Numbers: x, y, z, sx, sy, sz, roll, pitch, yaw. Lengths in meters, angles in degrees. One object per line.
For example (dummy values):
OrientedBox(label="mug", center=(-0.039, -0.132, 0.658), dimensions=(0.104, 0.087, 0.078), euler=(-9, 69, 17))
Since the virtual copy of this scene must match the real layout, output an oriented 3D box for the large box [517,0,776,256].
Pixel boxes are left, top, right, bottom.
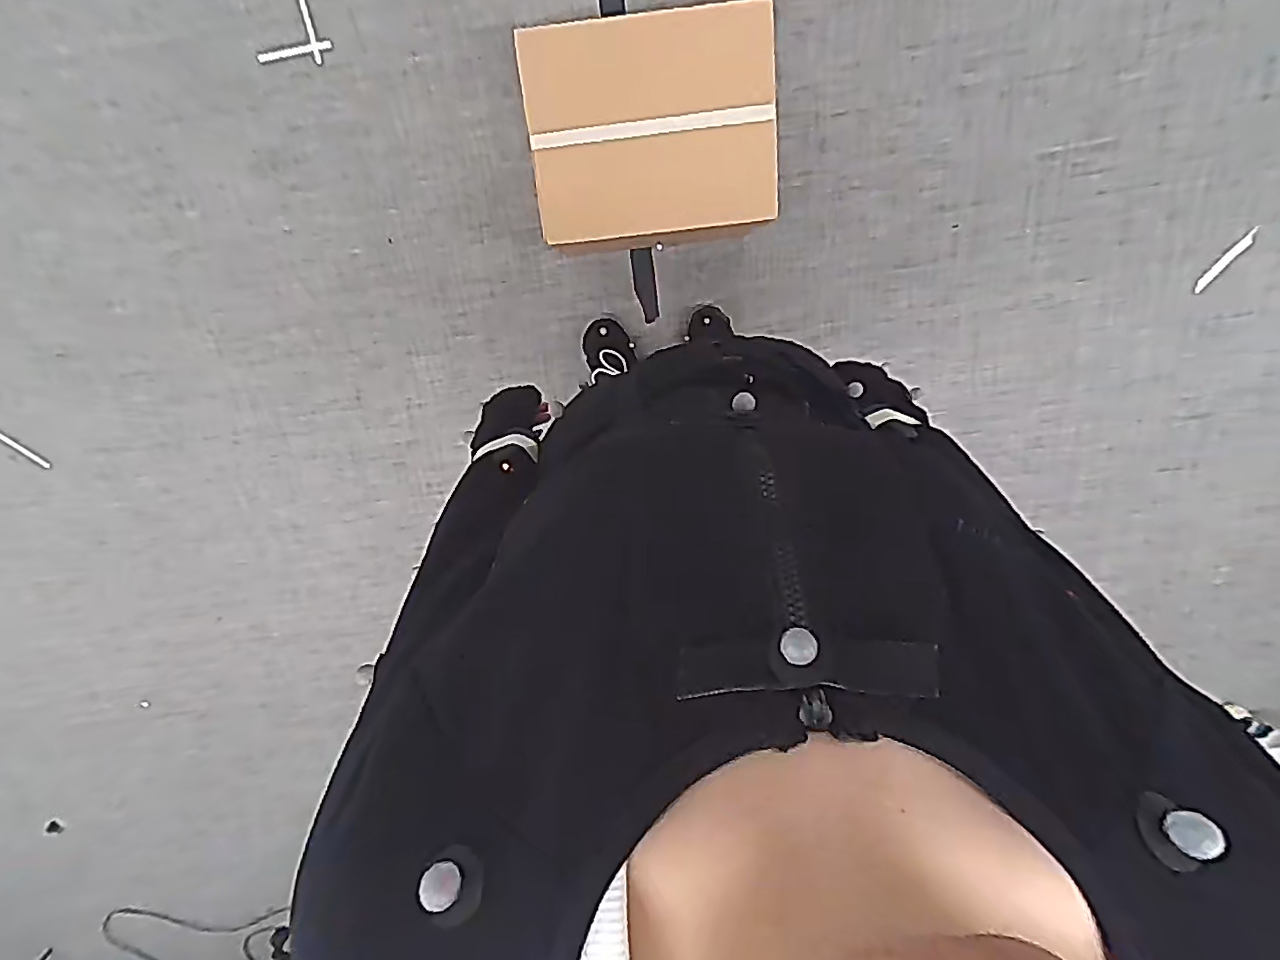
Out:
OrientedBox(label="large box", center=(0.018, -0.626, 1.031), dimensions=(0.408, 0.320, 0.320), euler=(-6, 110, 2))
